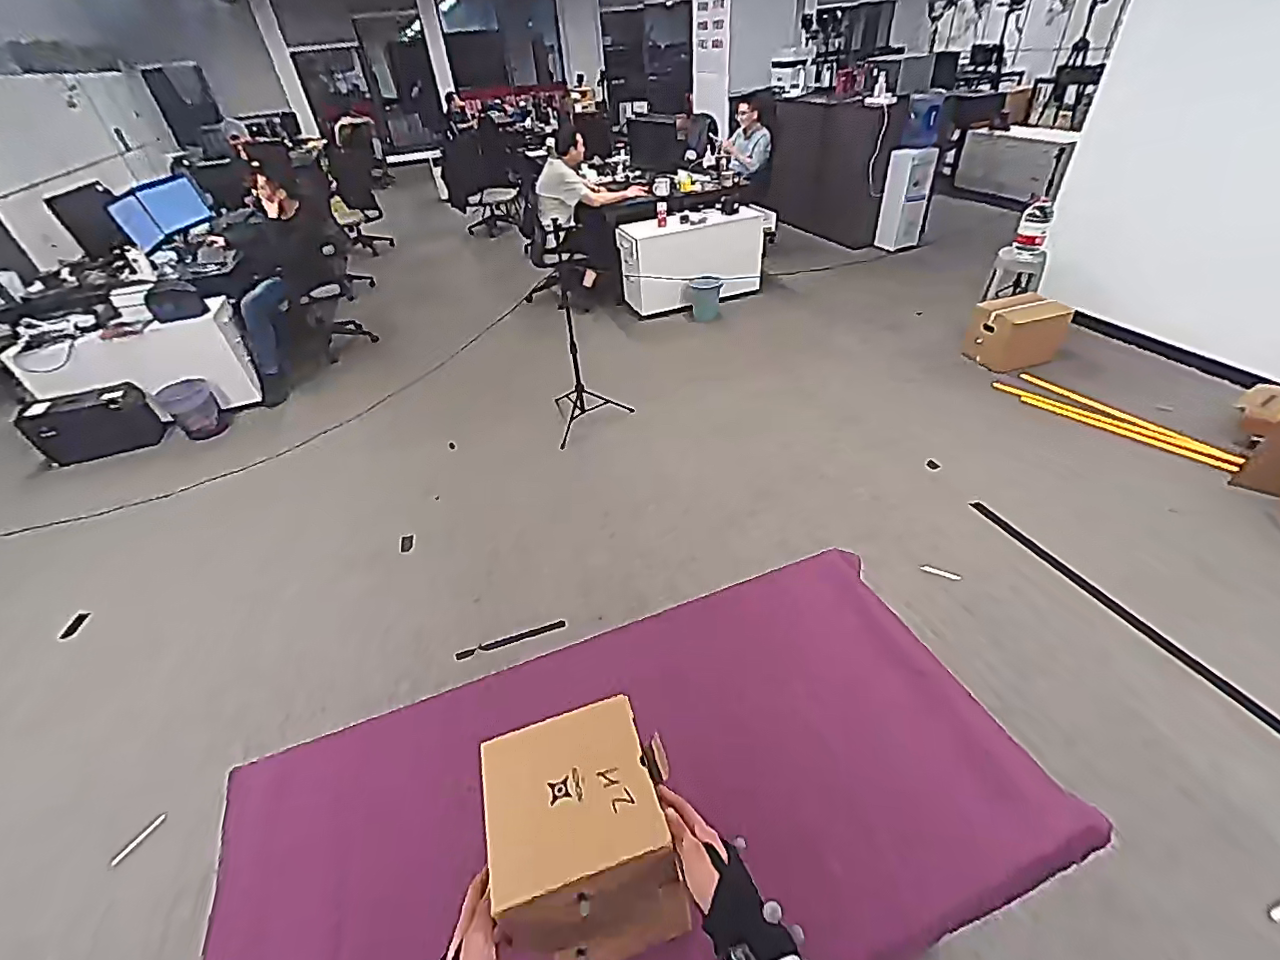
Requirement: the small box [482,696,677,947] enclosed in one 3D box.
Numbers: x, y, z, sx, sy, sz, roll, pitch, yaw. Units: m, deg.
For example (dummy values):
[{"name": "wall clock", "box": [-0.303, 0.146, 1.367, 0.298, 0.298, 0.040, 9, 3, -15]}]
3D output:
[{"name": "small box", "box": [-0.067, 0.384, 0.611, 0.179, 0.176, 0.168, -14, 39, -10]}]
